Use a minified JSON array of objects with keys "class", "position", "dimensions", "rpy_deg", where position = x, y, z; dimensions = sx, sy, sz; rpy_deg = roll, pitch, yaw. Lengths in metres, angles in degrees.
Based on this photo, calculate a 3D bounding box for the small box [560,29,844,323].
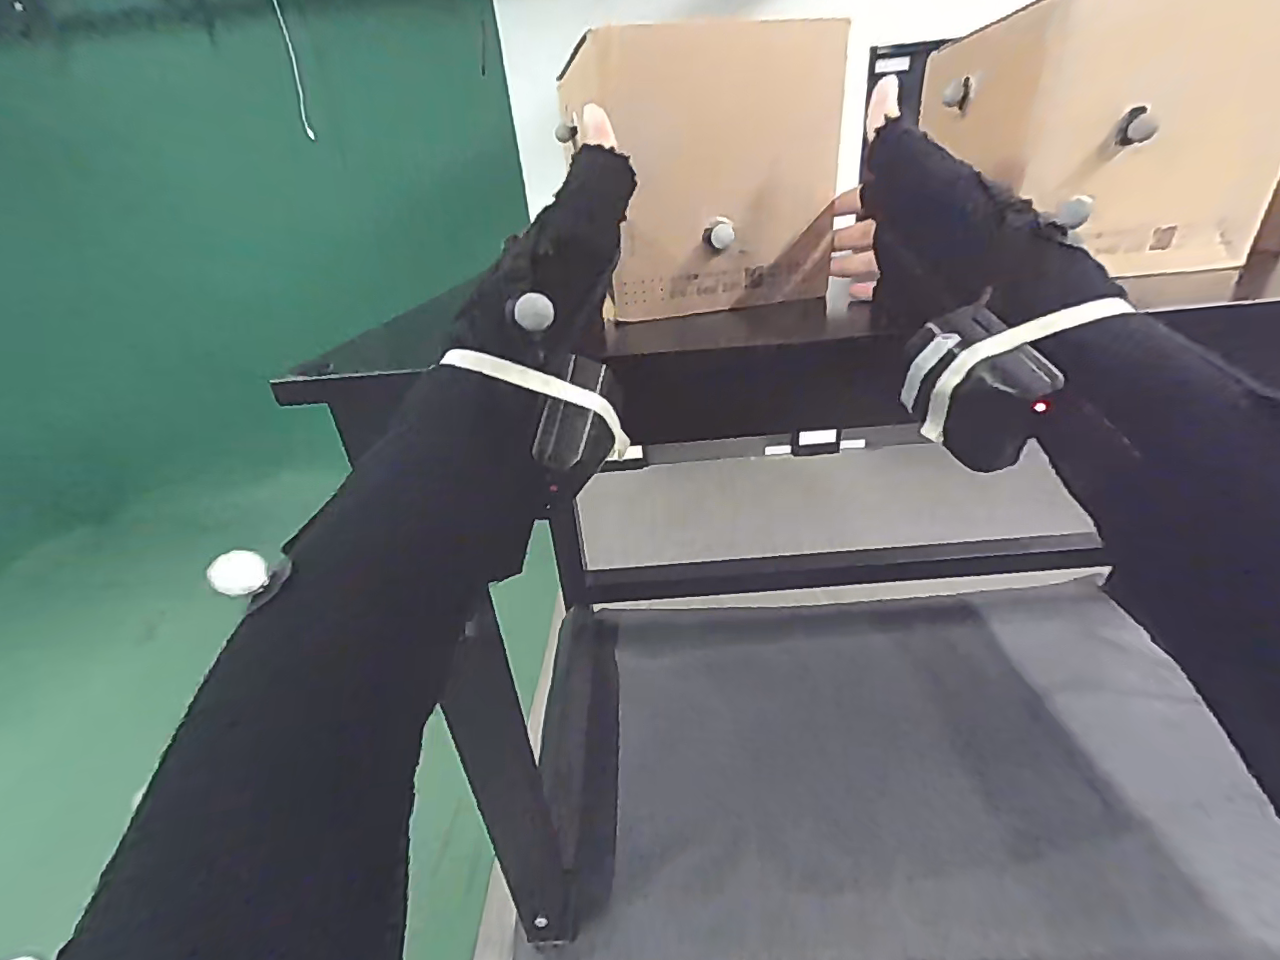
[{"class":"small box","position":[0.034,-0.228,0.429],"dimensions":[0.168,0.176,0.179],"rpy_deg":[-10,29,-10]}]
